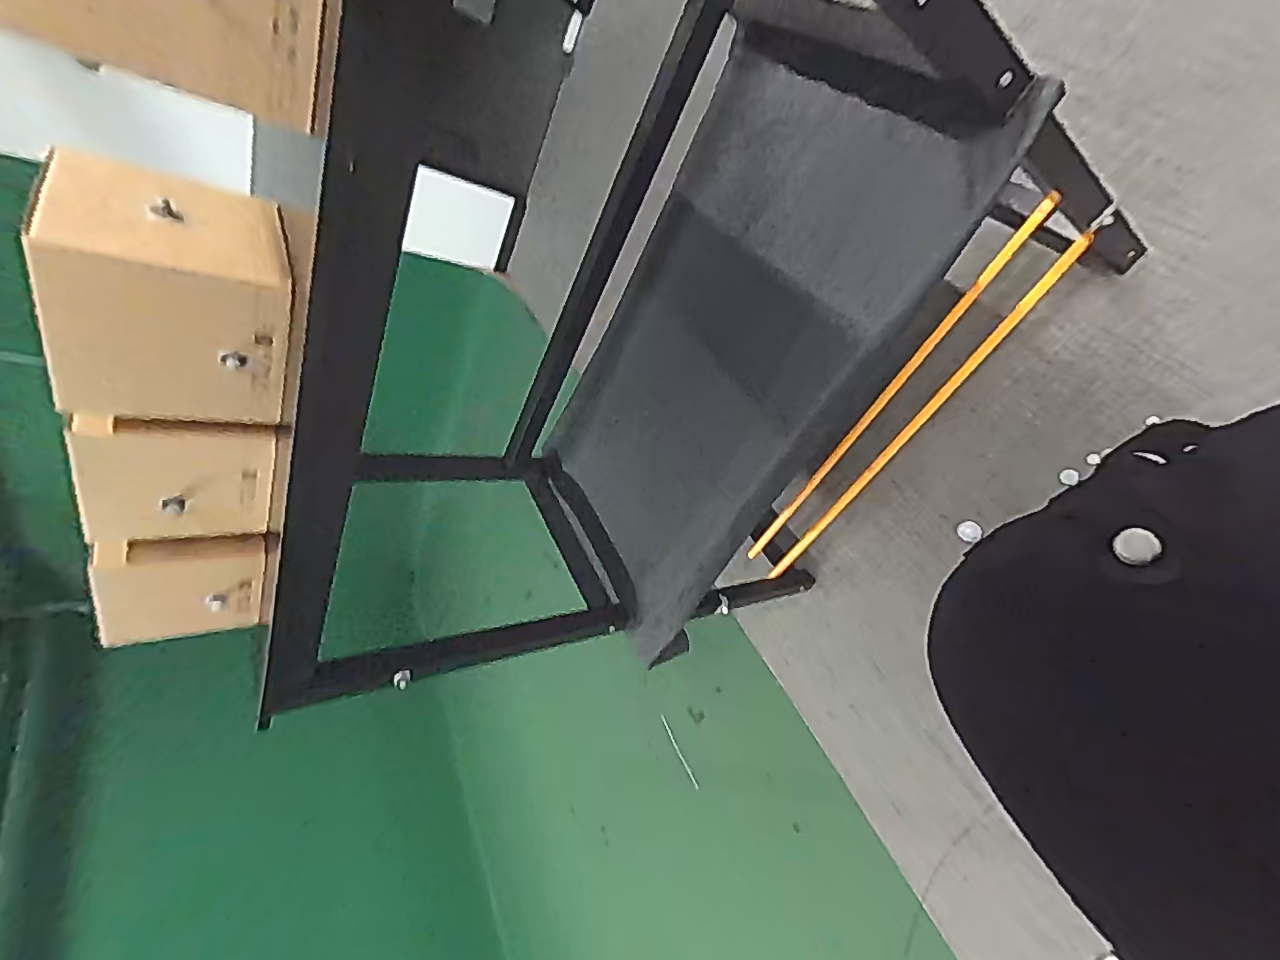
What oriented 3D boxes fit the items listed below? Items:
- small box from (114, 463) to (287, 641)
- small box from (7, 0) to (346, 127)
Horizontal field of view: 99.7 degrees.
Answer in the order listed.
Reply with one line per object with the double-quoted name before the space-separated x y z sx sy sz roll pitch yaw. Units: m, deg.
"small box" -0.609 0.095 0.756 0.179 0.176 0.168 57 131 32
"small box" -0.305 -0.376 0.368 0.179 0.176 0.168 57 131 34
